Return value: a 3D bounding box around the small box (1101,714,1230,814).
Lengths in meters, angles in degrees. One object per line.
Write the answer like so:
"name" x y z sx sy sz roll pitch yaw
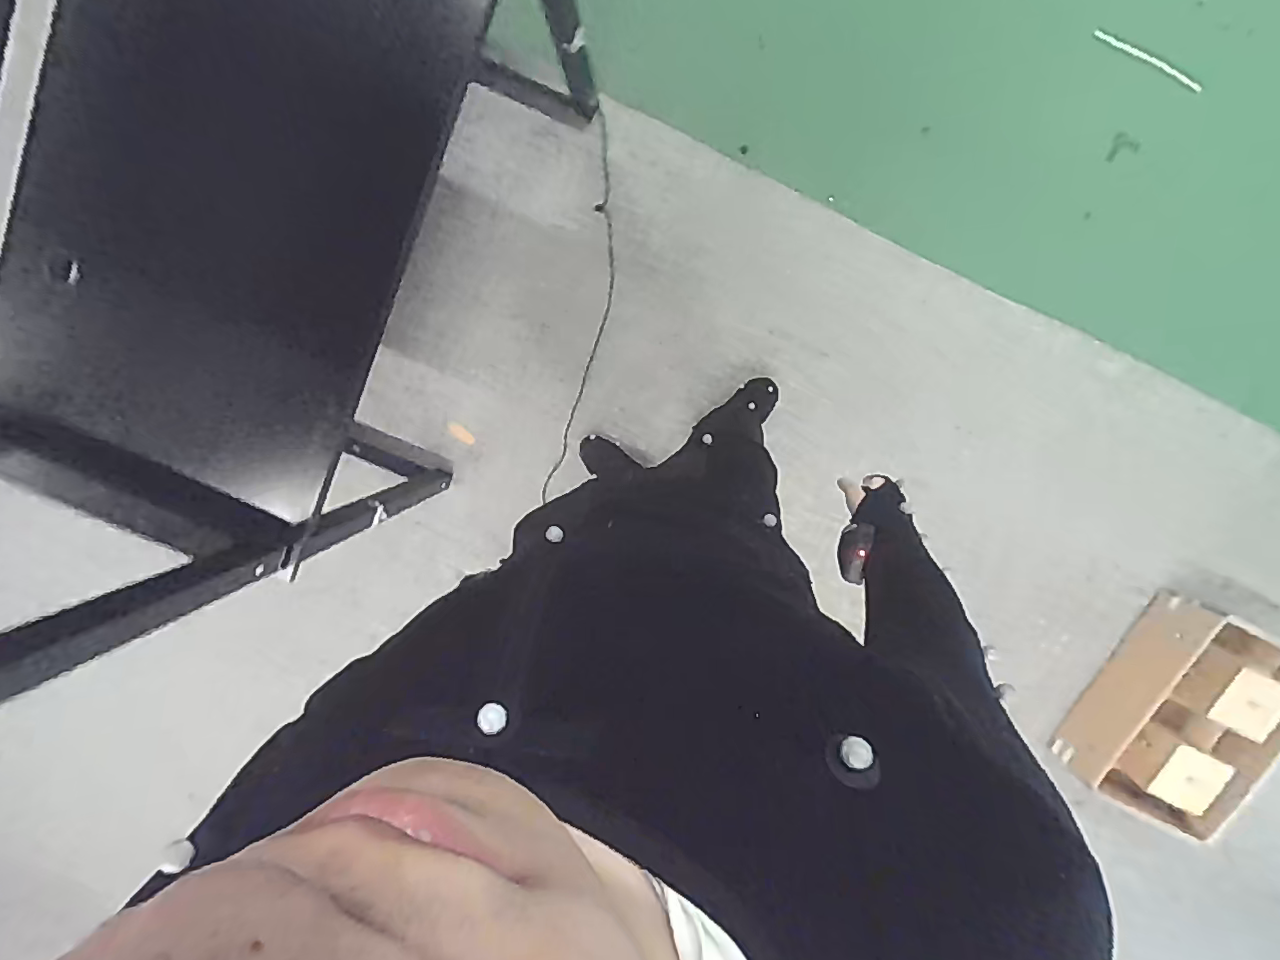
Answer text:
"small box" 1.514 0.815 1.573 0.179 0.176 0.168 26 99 -3

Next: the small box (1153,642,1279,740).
"small box" 1.632 0.585 1.528 0.179 0.176 0.168 25 101 -2
